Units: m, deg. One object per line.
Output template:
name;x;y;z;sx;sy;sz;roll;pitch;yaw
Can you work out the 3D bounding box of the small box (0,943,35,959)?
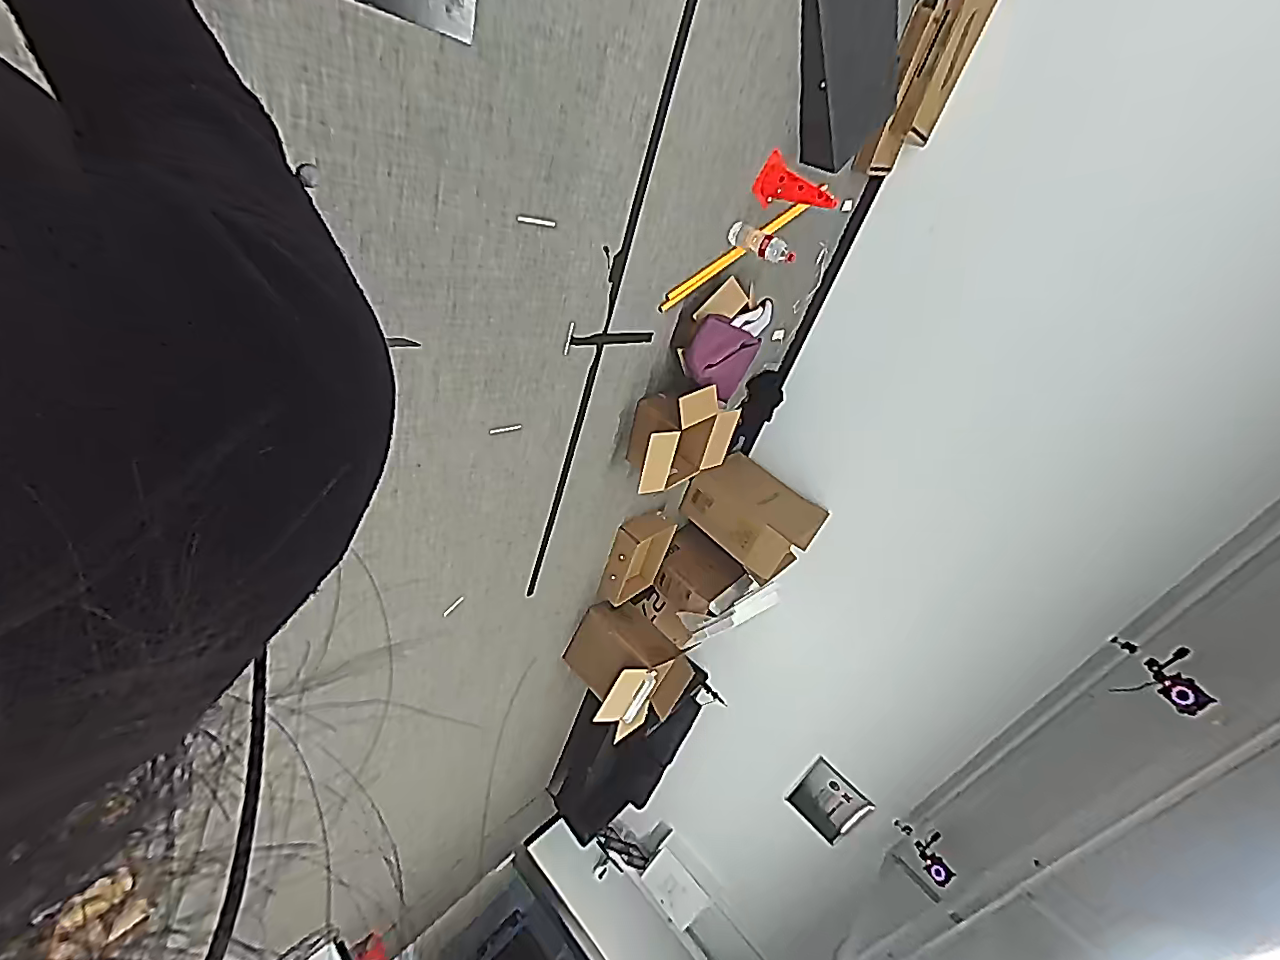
small box;-1.502;1.209;1.211;0.179;0.176;0.168;-26;140;-40
